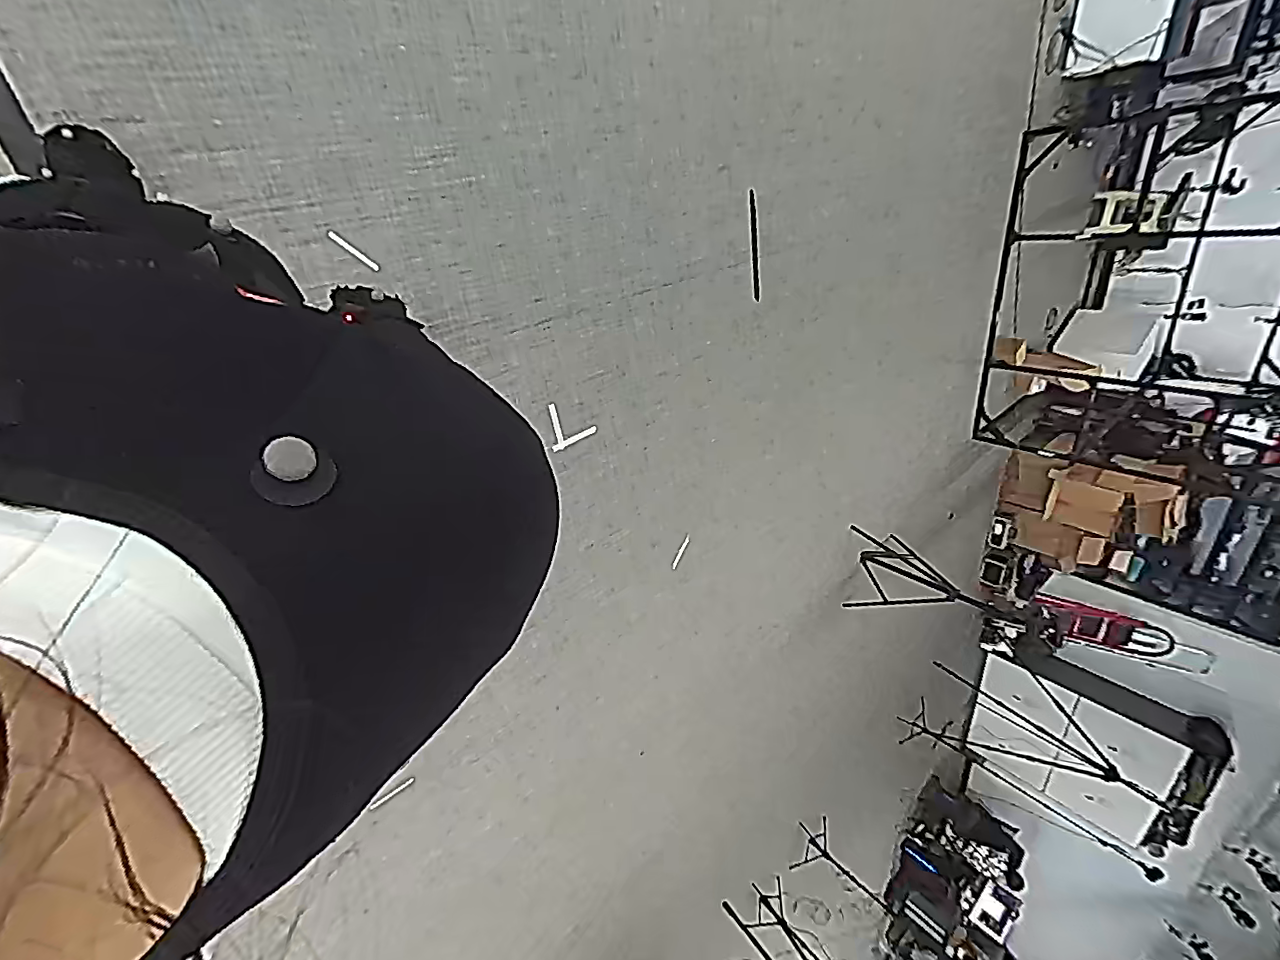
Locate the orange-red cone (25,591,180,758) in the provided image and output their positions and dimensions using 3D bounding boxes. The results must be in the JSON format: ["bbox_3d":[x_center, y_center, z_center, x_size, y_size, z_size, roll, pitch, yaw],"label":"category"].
[{"bbox_3d":[-1.016,0.395,1.018,0.199,0.360,0.198,-22,119,-33],"label":"orange-red cone"}]
